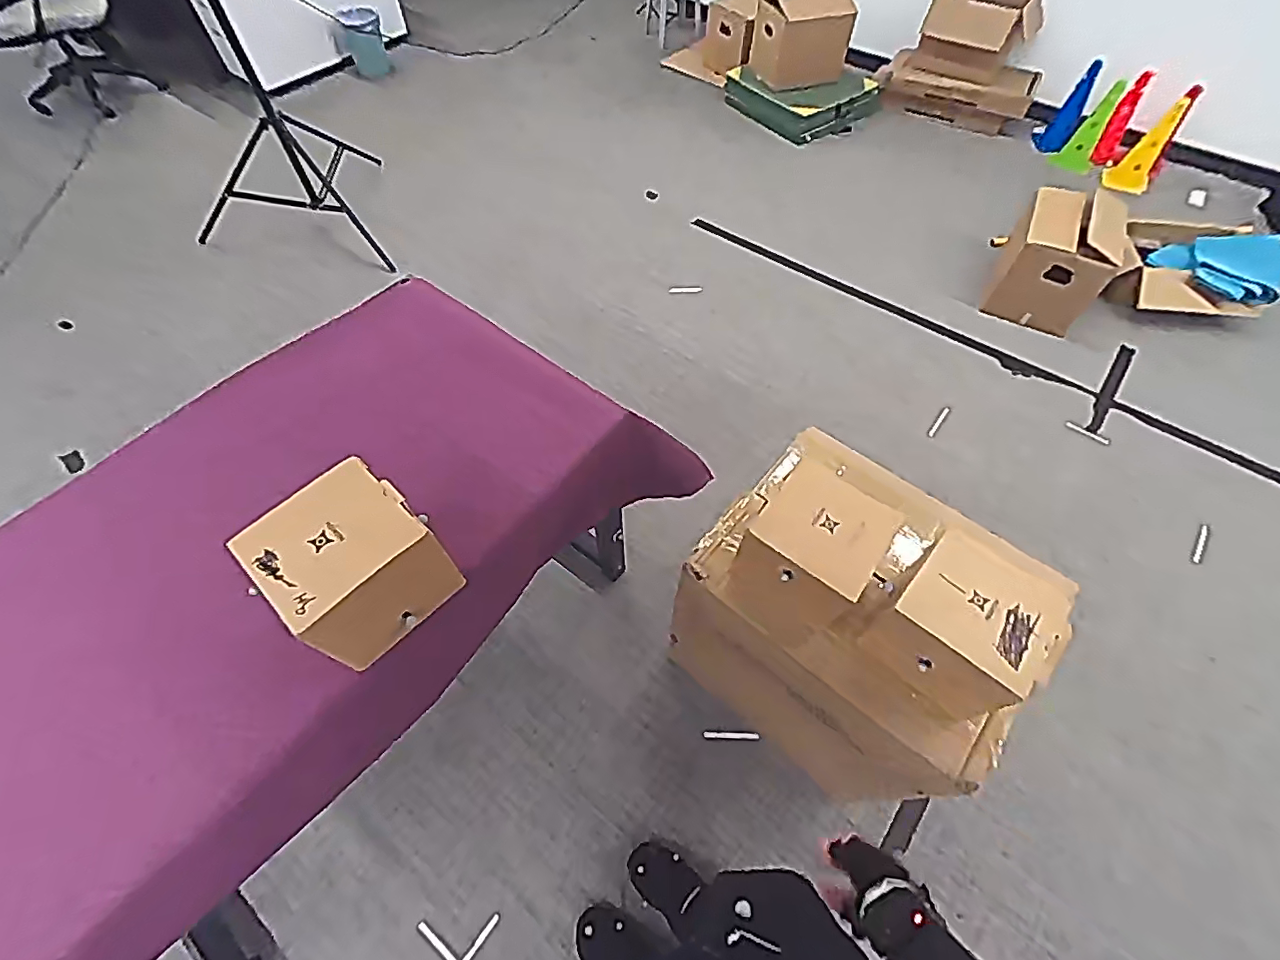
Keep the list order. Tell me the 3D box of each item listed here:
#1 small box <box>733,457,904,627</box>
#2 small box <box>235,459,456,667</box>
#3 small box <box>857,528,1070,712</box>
[{"bbox_3d":[0.266,0.103,0.846,0.179,0.176,0.168,35,66,18],"label":"small box"},{"bbox_3d":[-0.367,0.112,0.714,0.168,0.176,0.179,38,64,22],"label":"small box"},{"bbox_3d":[0.450,0.208,0.777,0.179,0.176,0.168,37,65,23],"label":"small box"}]
